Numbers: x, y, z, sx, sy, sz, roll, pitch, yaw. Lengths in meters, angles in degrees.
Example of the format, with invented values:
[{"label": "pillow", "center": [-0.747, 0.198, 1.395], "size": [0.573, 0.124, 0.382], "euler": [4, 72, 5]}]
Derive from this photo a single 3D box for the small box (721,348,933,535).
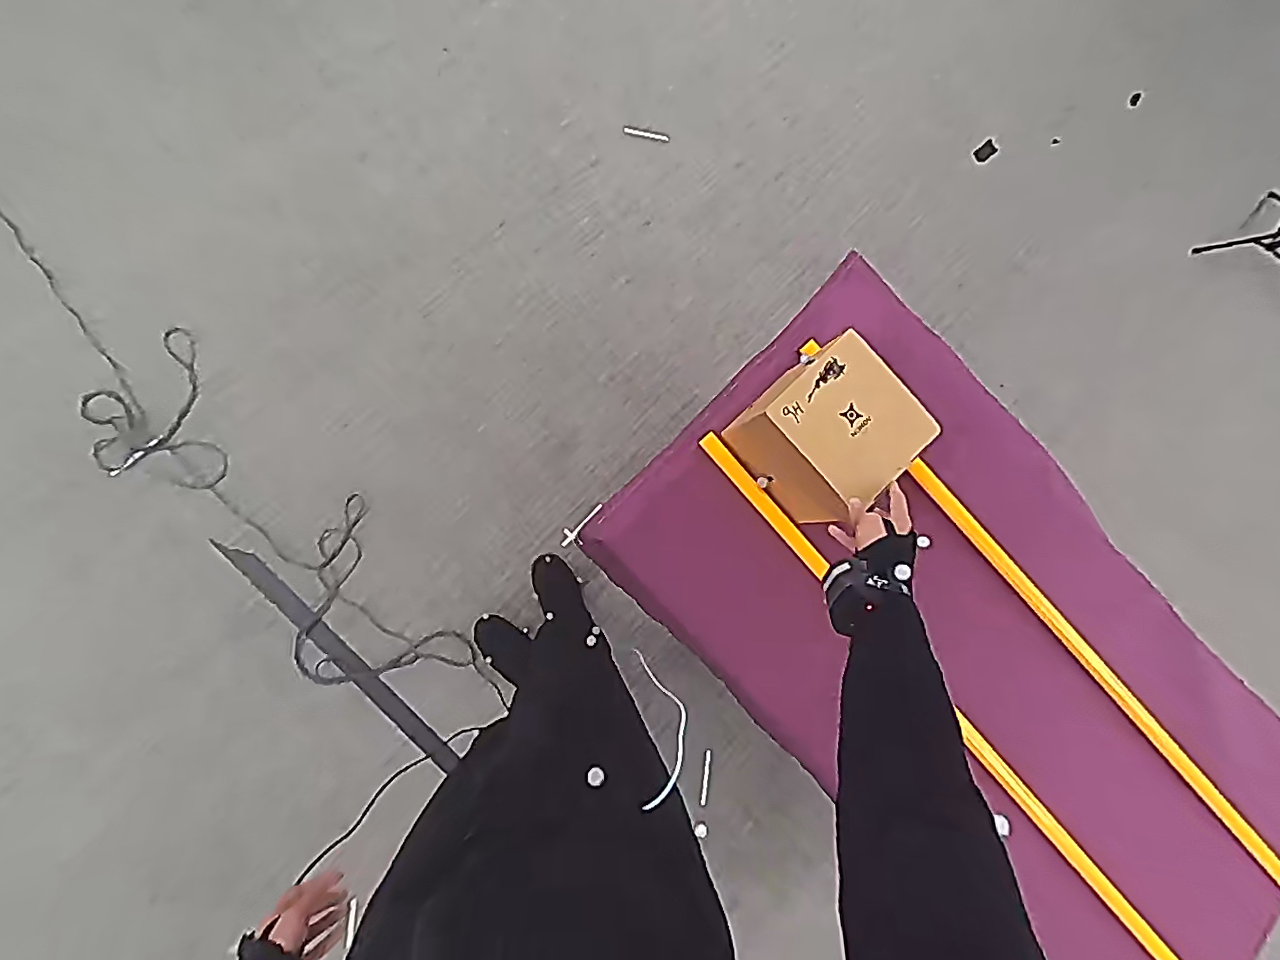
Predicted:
[{"label": "small box", "center": [0.243, -0.044, 0.741], "size": [0.168, 0.176, 0.179], "euler": [-42, 93, -12]}]
